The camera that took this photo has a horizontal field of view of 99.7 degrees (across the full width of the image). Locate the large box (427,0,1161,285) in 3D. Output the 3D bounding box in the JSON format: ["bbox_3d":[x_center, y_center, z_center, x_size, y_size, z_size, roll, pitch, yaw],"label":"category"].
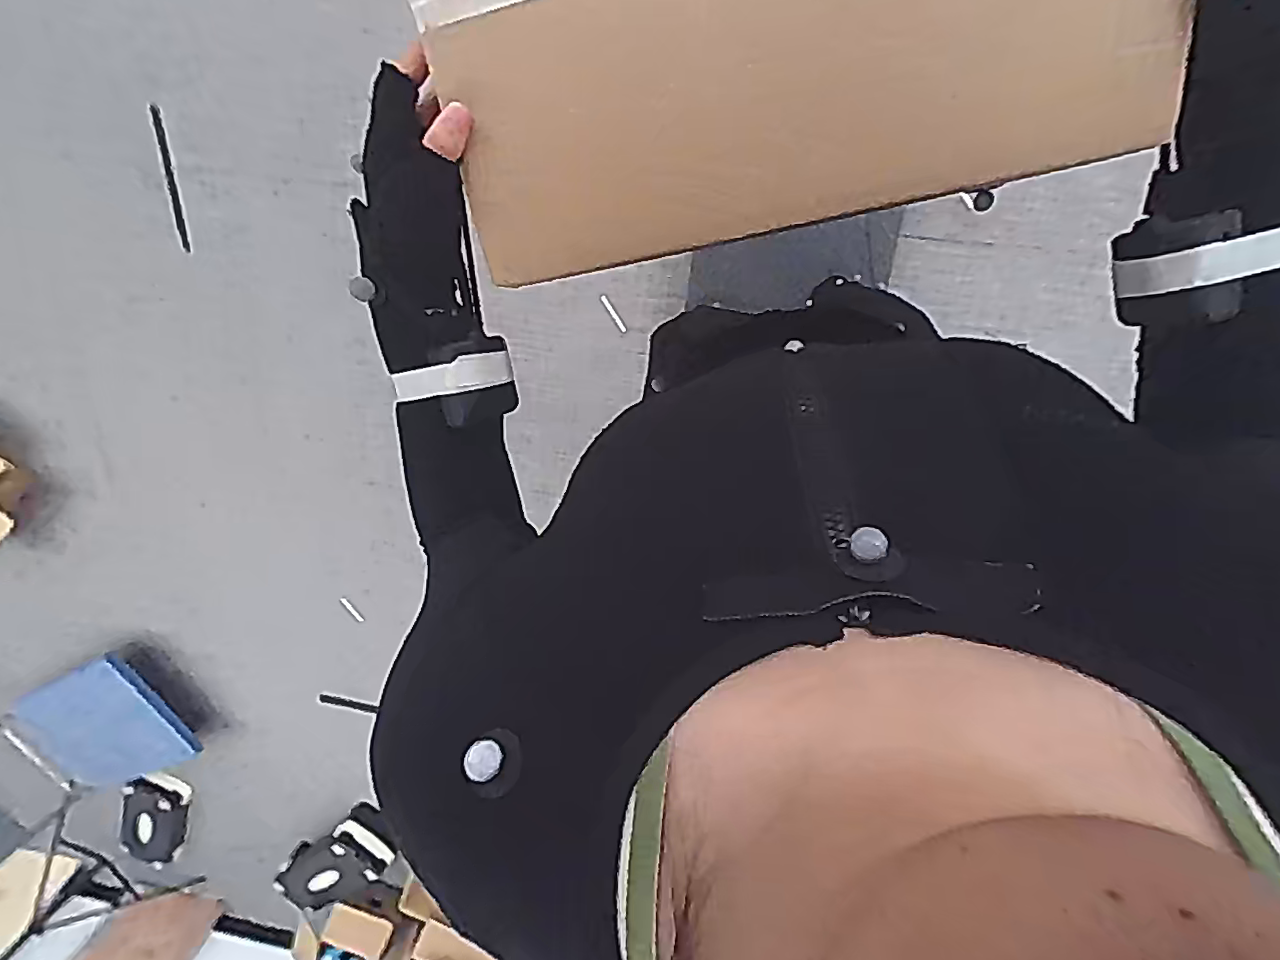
[{"bbox_3d":[0.084,-0.365,0.421,0.408,0.320,0.320,-8,113,9],"label":"large box"}]
